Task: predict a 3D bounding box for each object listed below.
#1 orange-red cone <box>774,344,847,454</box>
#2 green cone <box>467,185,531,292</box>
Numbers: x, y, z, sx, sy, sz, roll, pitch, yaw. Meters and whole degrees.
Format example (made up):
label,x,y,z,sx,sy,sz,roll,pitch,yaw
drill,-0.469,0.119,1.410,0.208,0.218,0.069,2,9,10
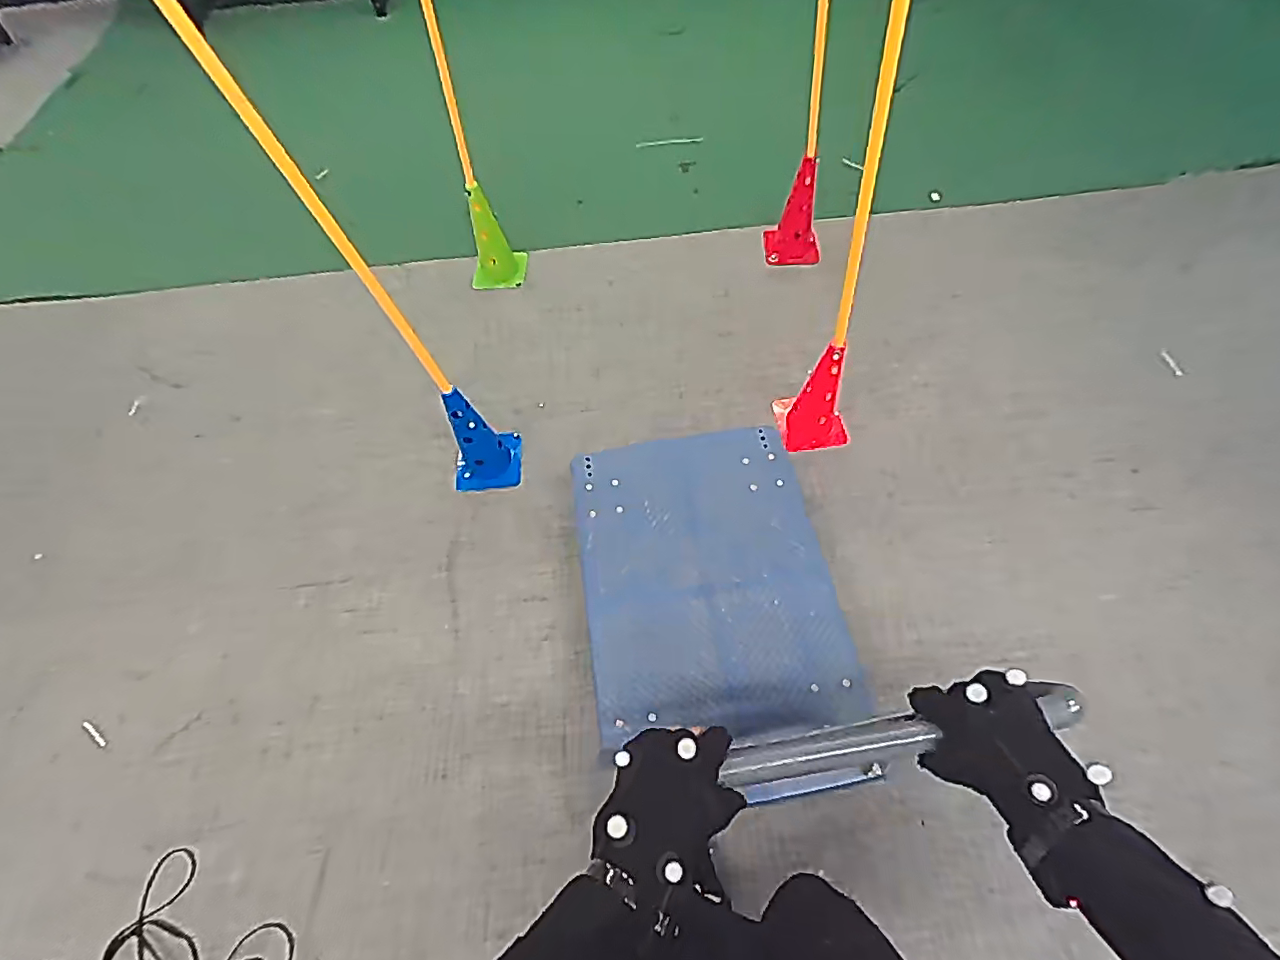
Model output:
label,x,y,z,sx,sy,sz,roll,pitch,yaw
orange-red cone,0.523,-0.253,1.557,0.199,0.360,0.198,-7,60,2
green cone,-0.546,-0.900,1.980,0.202,0.368,0.200,-2,60,3
